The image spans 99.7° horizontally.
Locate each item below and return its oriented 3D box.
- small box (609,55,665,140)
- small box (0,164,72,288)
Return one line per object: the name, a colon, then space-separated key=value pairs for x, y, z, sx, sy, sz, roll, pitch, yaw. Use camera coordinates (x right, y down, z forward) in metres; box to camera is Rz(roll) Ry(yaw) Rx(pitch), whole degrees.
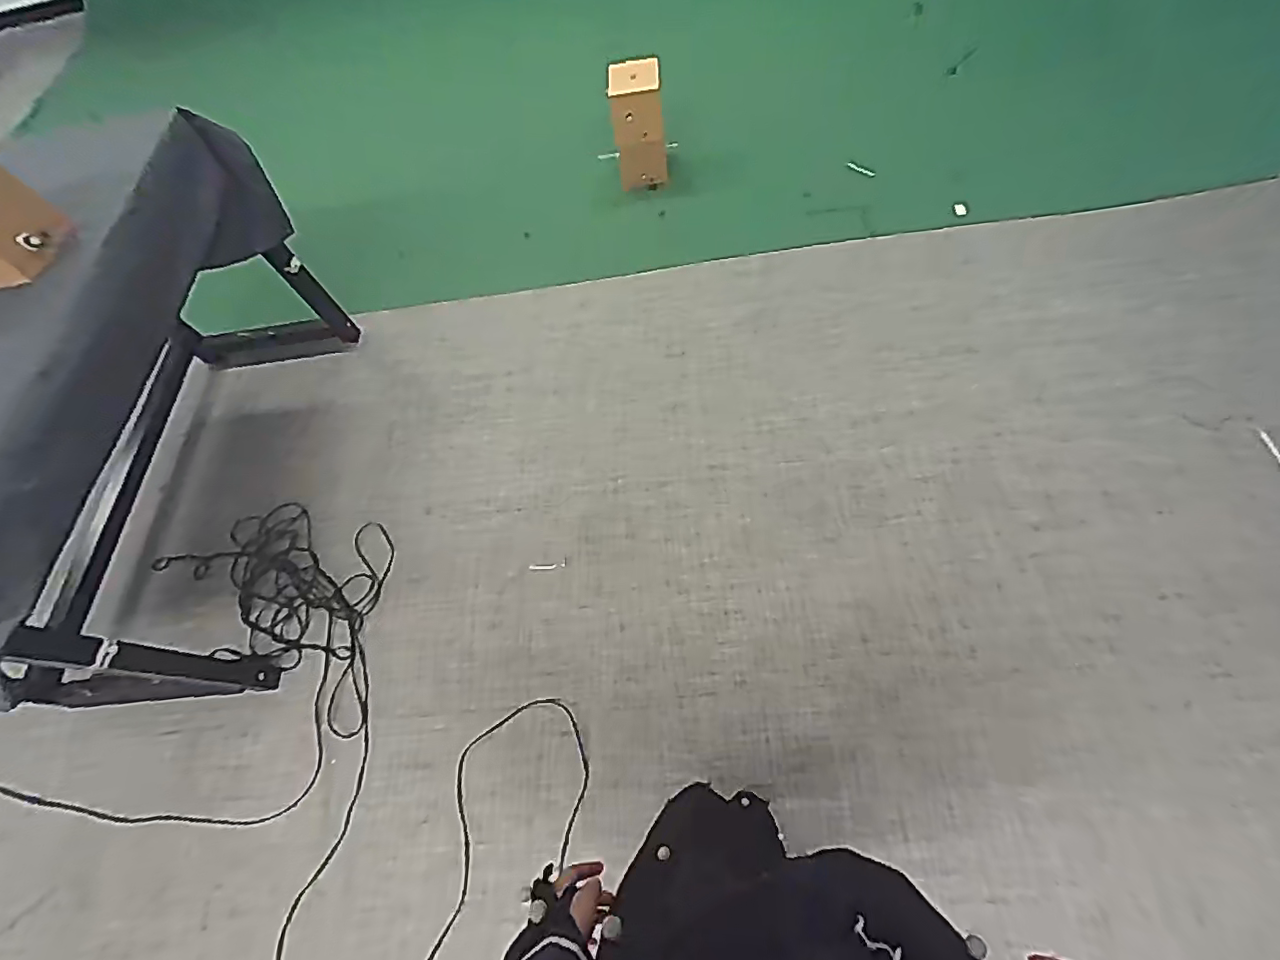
small box: x=-0.008 y=-1.272 z=1.814 sx=0.168 sy=0.176 sz=0.179 roll=-5 pitch=64 yaw=7
small box: x=-1.214 y=-0.463 z=0.975 sx=0.179 sy=0.176 sz=0.168 roll=-5 pitch=64 yaw=6
